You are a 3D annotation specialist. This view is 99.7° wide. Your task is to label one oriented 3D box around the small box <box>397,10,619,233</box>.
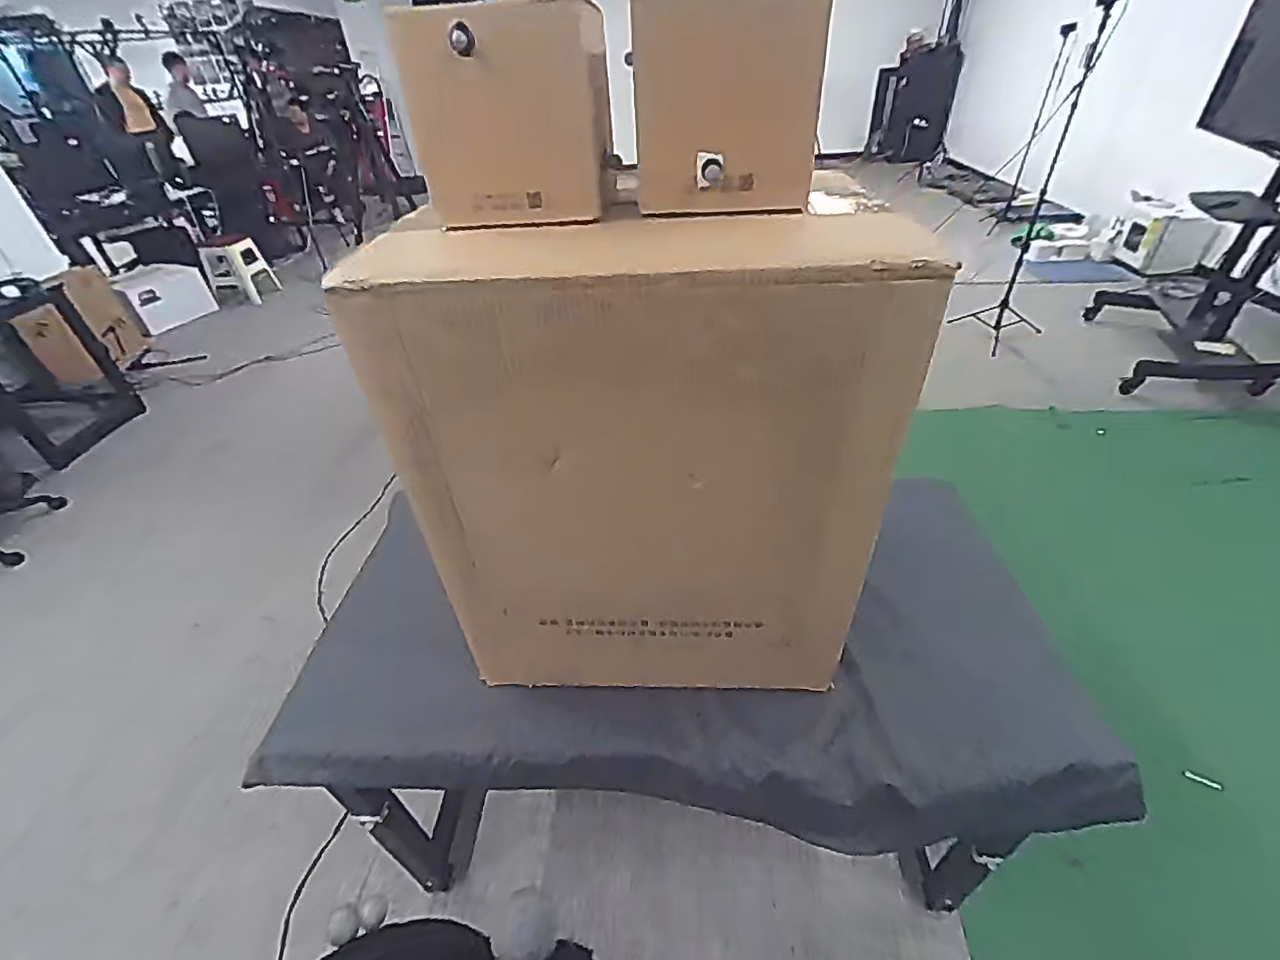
[{"bbox_3d":[-0.116,-0.364,0.564,0.168,0.176,0.179,-1,36,6],"label":"small box"}]
